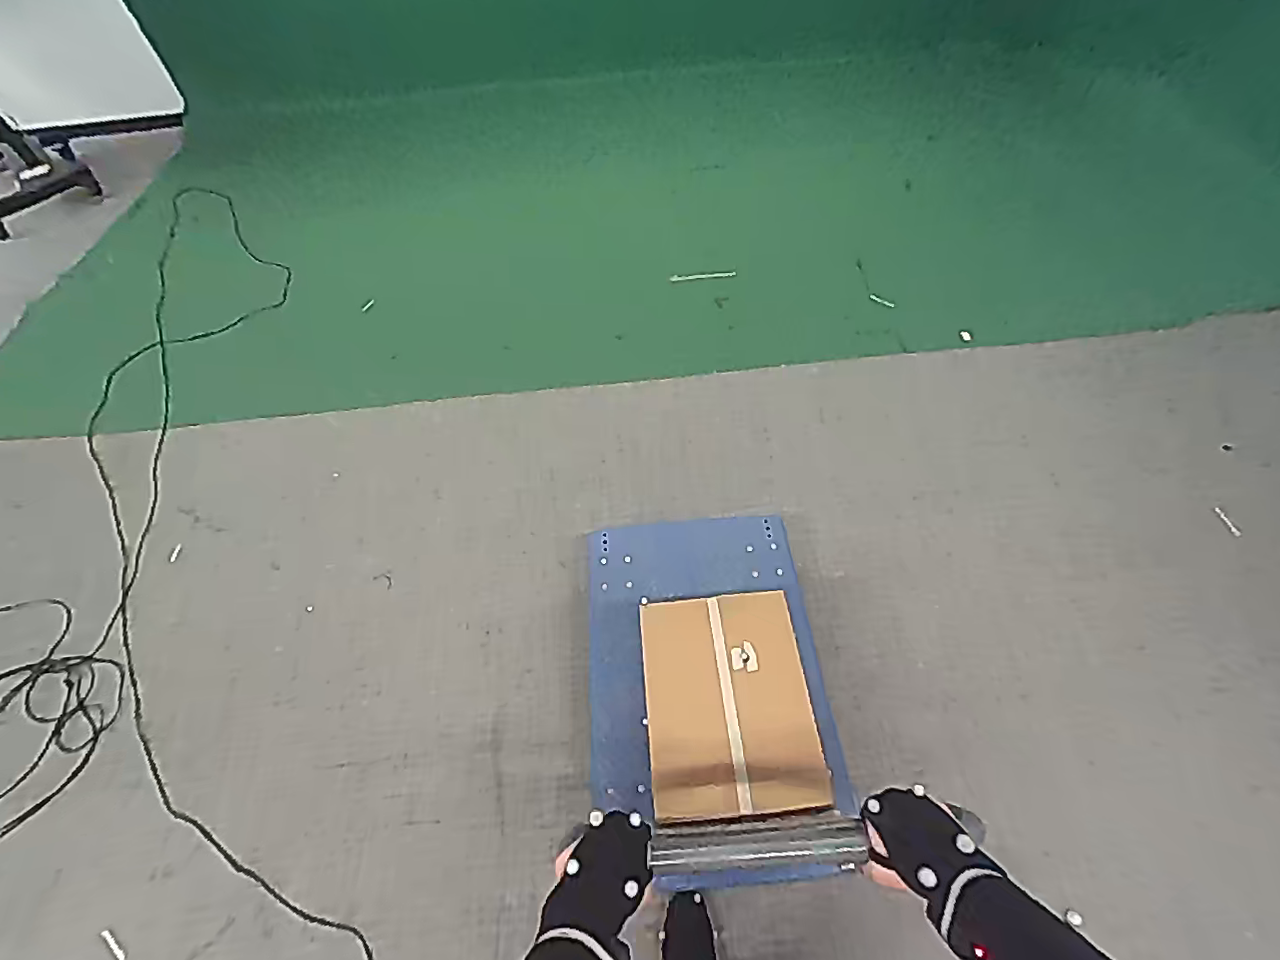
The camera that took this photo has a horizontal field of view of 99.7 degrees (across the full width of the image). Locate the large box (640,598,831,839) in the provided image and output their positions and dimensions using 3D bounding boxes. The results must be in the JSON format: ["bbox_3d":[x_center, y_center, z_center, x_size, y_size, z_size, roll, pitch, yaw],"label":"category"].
[{"bbox_3d":[0.179,0.519,1.175,0.320,0.320,0.408,-5,53,1],"label":"large box"}]
